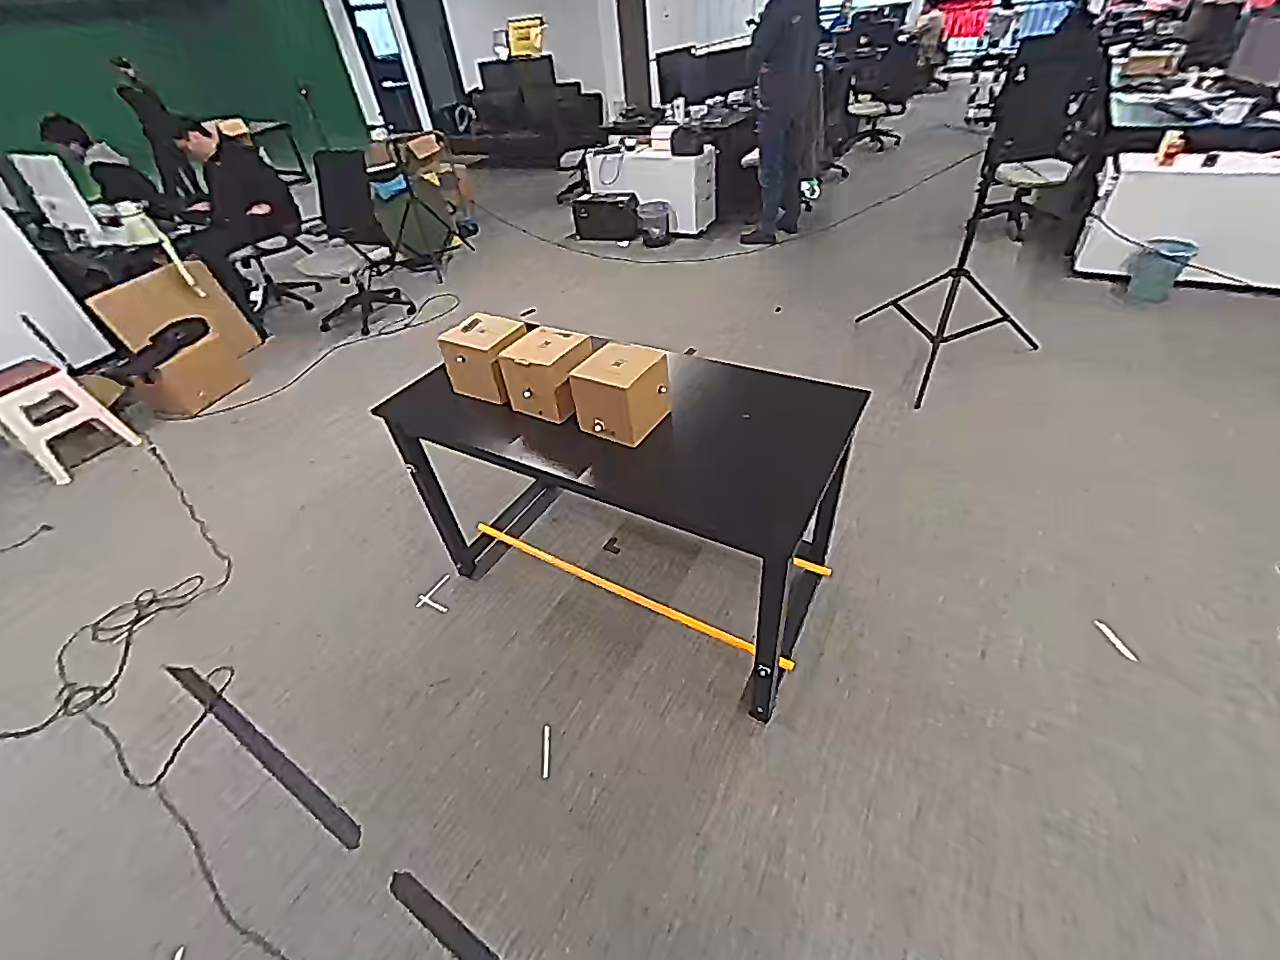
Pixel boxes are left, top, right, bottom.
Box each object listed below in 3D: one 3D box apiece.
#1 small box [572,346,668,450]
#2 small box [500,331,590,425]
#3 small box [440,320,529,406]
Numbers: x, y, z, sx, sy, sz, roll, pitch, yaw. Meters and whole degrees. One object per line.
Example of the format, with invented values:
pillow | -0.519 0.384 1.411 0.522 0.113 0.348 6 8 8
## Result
small box | -0.041 -0.201 1.322 0.168 0.176 0.179 18 47 27
small box | -0.233 -0.267 1.421 0.168 0.176 0.179 18 47 26
small box | -0.418 -0.328 1.513 0.179 0.176 0.168 17 46 23
